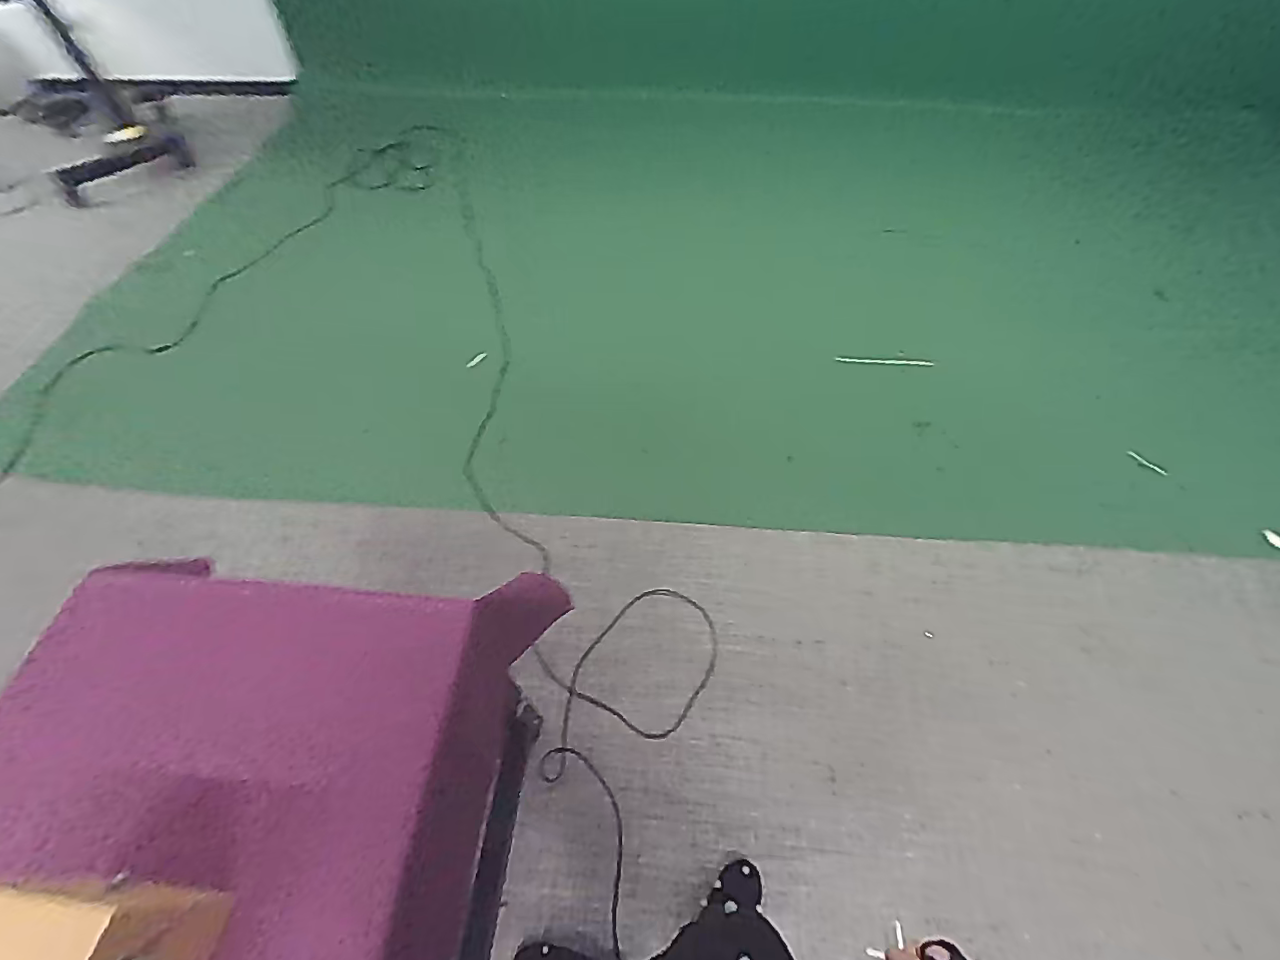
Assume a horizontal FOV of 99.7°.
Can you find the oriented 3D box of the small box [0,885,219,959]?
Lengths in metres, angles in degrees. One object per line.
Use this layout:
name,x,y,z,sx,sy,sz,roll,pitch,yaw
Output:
small box,-0.537,0.483,0.487,0.168,0.176,0.179,4,55,4
